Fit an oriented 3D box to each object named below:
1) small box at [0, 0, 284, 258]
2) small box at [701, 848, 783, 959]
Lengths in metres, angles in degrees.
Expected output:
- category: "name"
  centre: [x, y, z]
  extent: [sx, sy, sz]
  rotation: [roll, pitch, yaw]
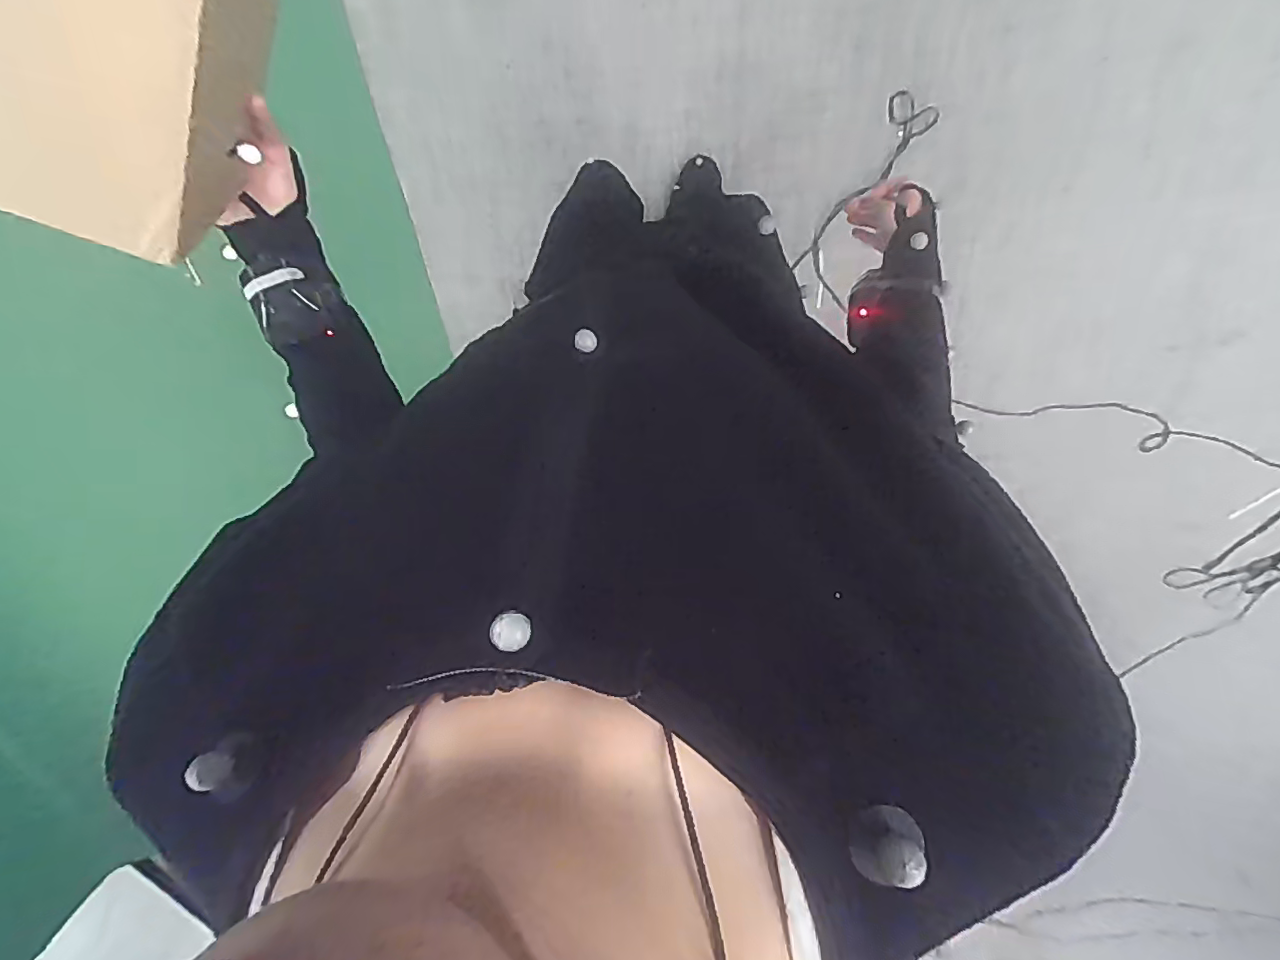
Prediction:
- category: "small box"
  centre: [-0.293, -0.253, 0.270]
  extent: [0.168, 0.179, 0.176]
  rotation: [15, 125, -32]
- category: "small box"
  centre: [0.241, 1.020, 1.306]
  extent: [0.179, 0.176, 0.168]
  rotation: [-3, 119, 7]
